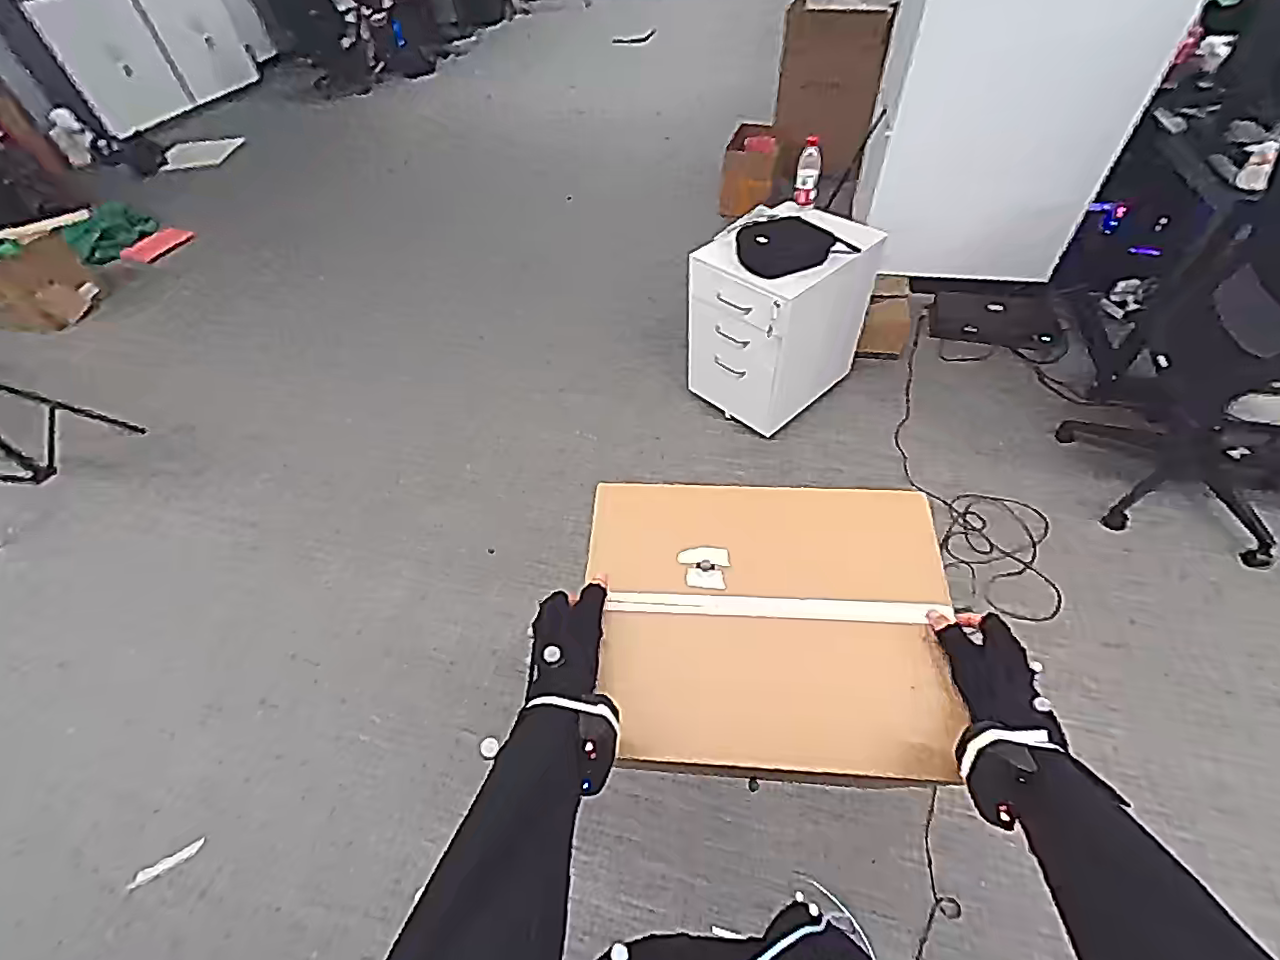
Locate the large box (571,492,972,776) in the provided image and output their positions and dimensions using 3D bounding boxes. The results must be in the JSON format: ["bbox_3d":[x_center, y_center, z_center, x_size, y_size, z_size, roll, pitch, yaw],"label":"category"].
[{"bbox_3d":[0.144,0.224,0.740,0.408,0.320,0.320,0,59,5],"label":"large box"}]
